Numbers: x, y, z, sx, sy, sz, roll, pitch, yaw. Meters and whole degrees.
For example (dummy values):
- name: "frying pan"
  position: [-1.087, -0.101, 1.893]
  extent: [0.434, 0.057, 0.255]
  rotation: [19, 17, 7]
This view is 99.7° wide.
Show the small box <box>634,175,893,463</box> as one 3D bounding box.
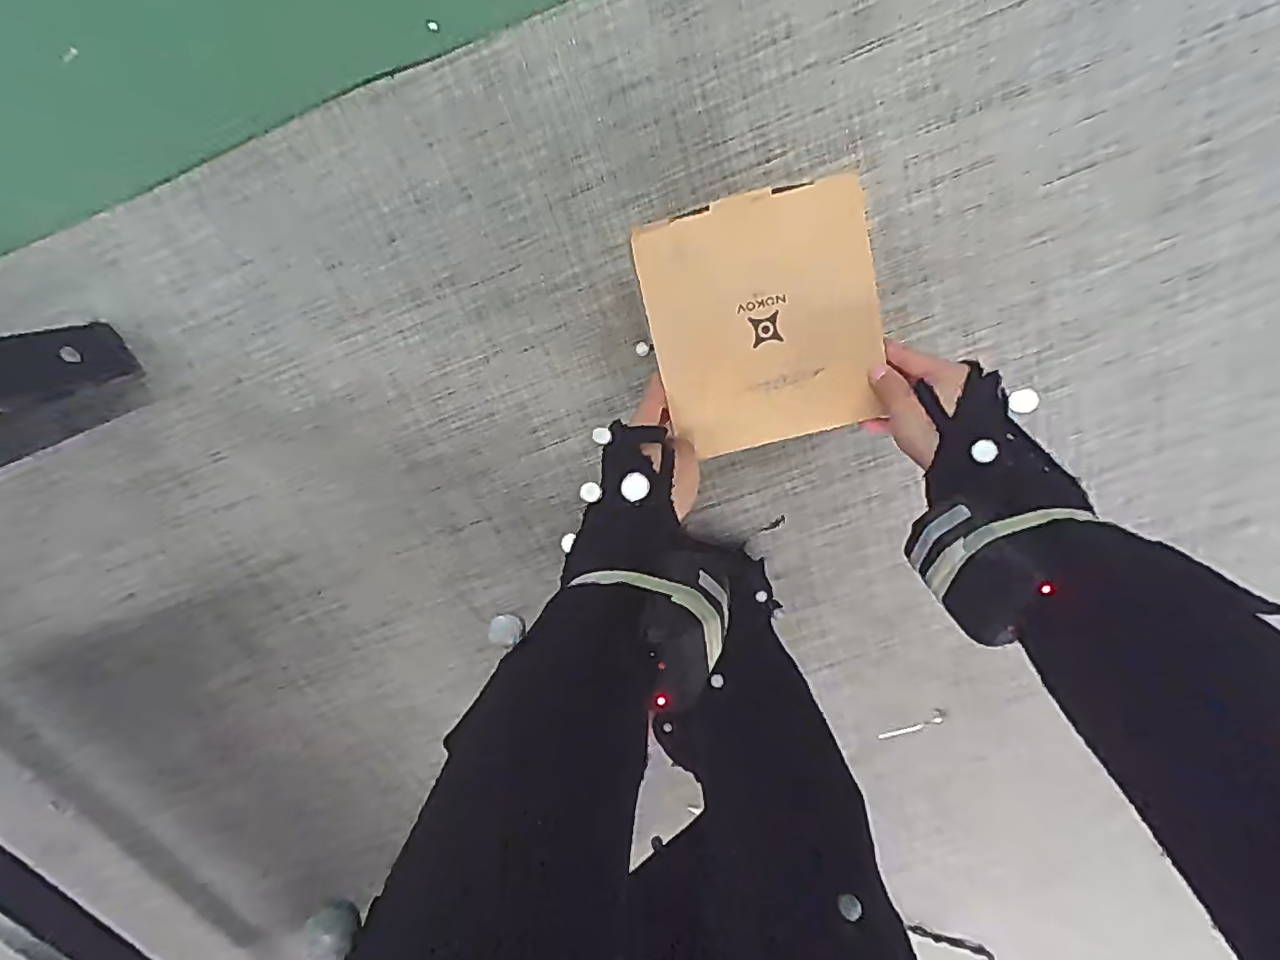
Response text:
- name: "small box"
  position: [0.092, -0.128, 0.472]
  extent: [0.168, 0.176, 0.179]
  rotation: [-14, 102, 4]
